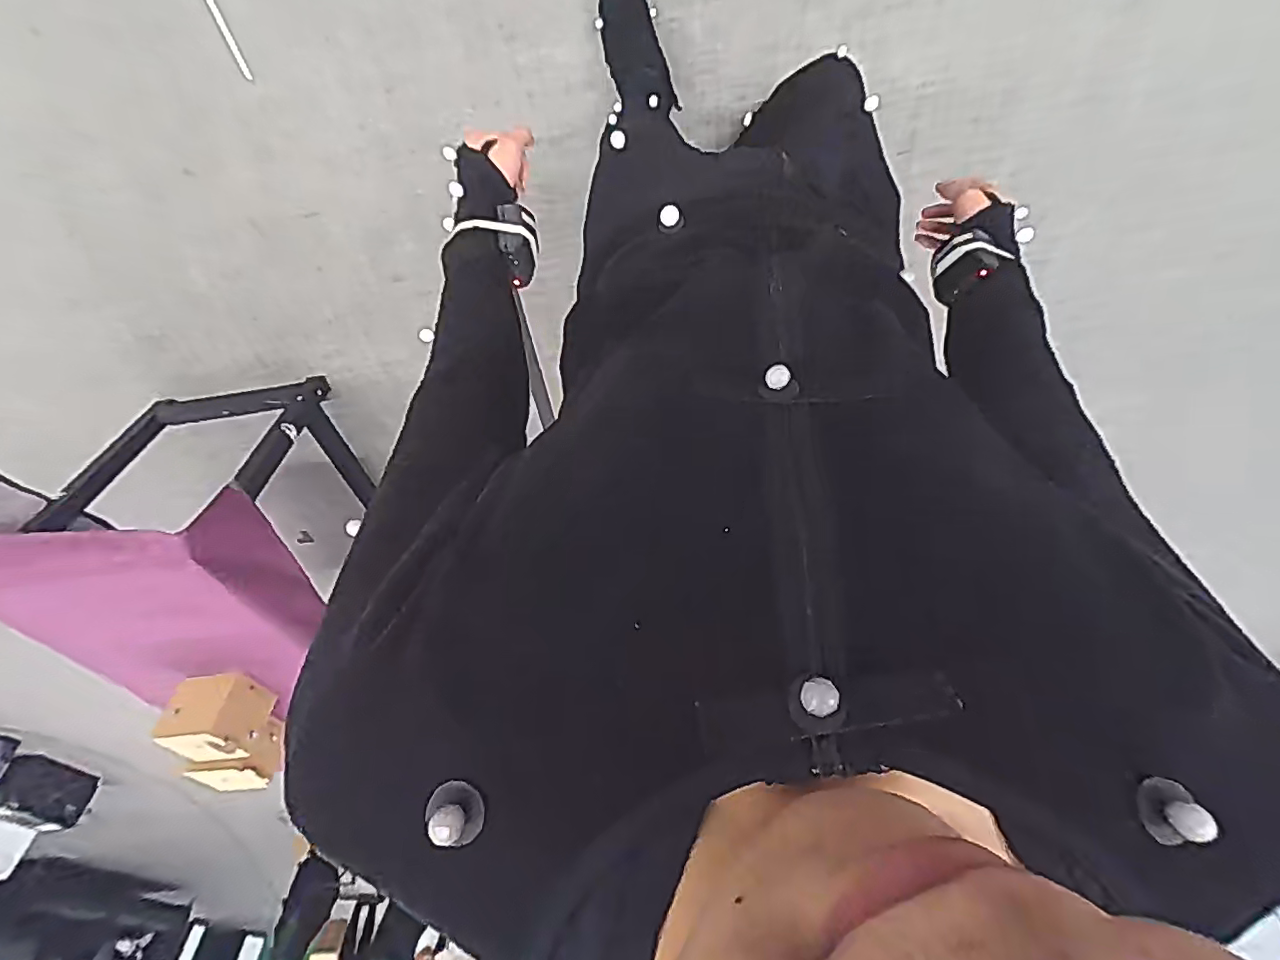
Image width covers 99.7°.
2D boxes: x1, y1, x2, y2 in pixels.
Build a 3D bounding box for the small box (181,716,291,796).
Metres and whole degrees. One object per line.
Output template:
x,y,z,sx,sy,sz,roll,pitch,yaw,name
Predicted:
-1.222,0.842,1.651,0.179,0.176,0.168,-9,134,5,small box
